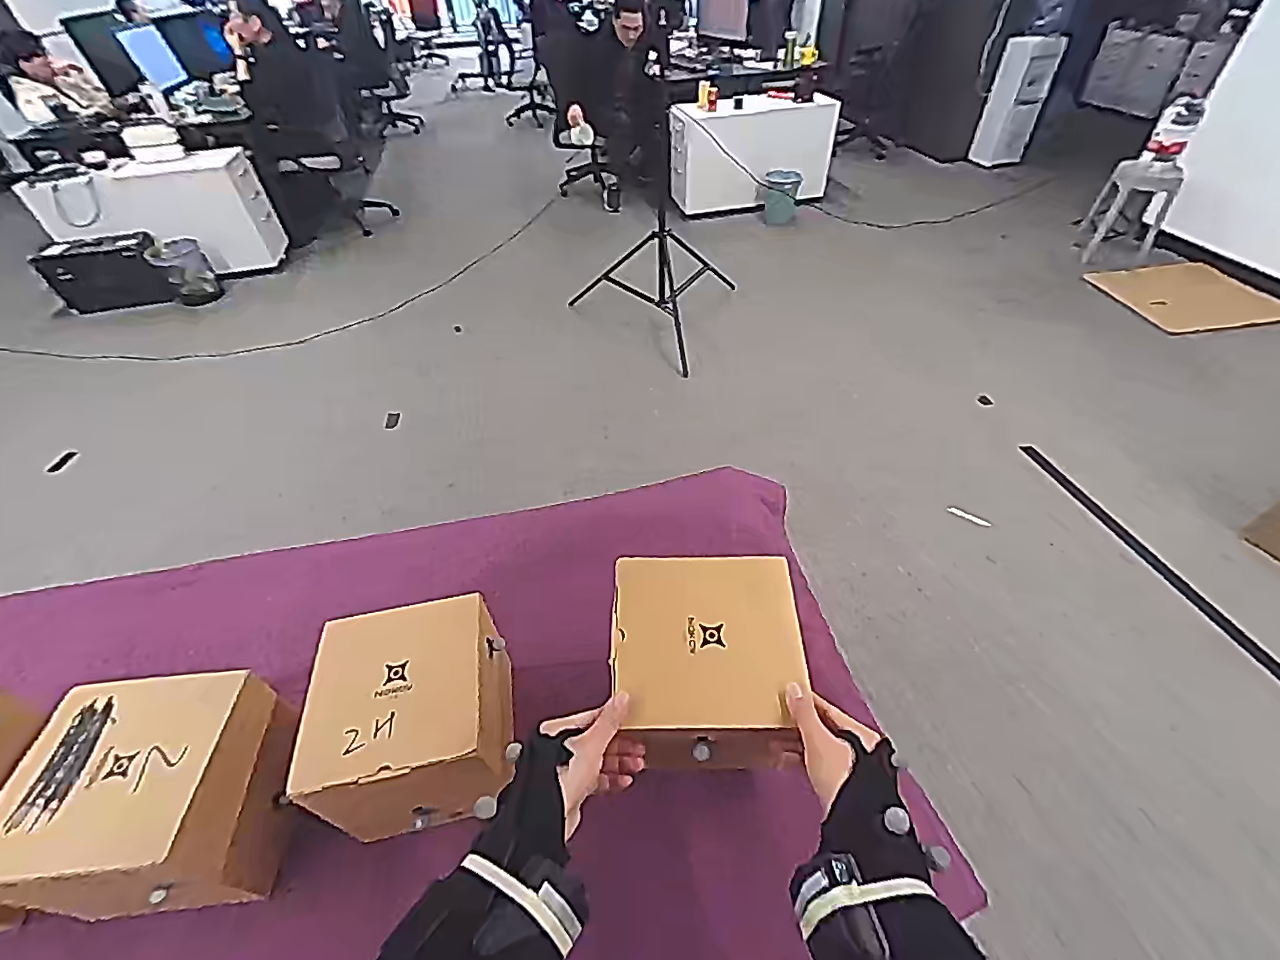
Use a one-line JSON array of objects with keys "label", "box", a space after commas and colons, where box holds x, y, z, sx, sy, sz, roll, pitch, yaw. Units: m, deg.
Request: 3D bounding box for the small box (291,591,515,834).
[{"label": "small box", "box": [-0.236, 0.252, 0.590, 0.168, 0.176, 0.179, -10, 45, -6]}]

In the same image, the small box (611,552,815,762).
[{"label": "small box", "box": [0.065, 0.189, 0.568, 0.179, 0.176, 0.168, -1, 52, 2]}]

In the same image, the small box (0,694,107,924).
[{"label": "small box", "box": [-0.704, 0.333, 0.533, 0.168, 0.176, 0.179, -6, 45, -4]}]
